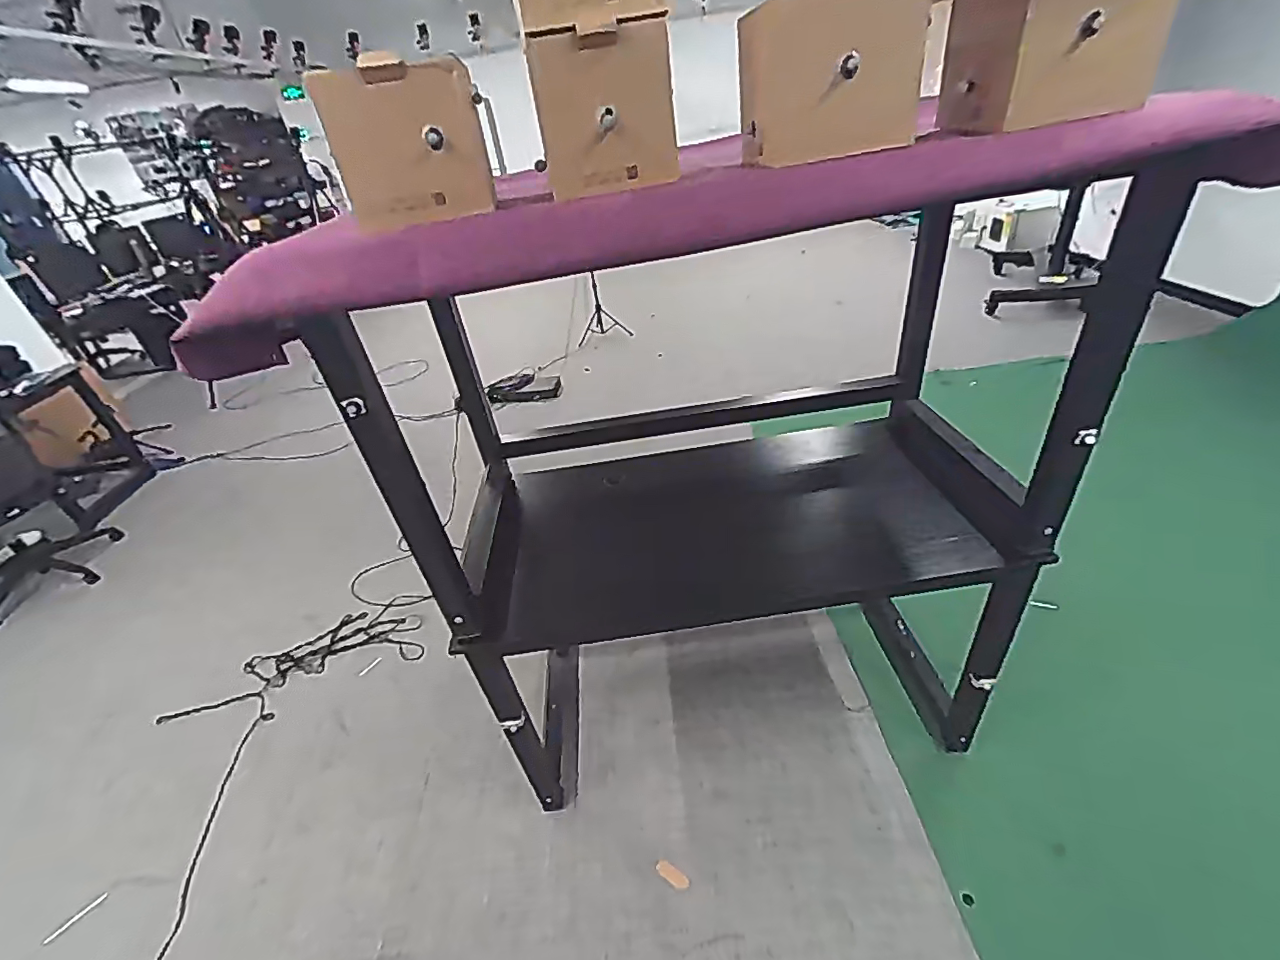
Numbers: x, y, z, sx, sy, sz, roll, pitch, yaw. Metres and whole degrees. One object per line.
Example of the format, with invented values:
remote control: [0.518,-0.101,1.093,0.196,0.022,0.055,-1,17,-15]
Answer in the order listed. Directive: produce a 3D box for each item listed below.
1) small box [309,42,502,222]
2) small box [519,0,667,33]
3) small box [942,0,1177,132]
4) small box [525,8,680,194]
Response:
small box: [-0.284,-0.443,0.705,0.168,0.176,0.179,-10,34,-4]
small box: [-0.067,-0.616,0.615,0.168,0.176,0.179,-12,32,-4]
small box: [0.511,-0.551,0.672,0.179,0.176,0.168,-9,35,3]
small box: [-0.047,-0.485,0.709,0.168,0.176,0.179,-10,34,-2]
